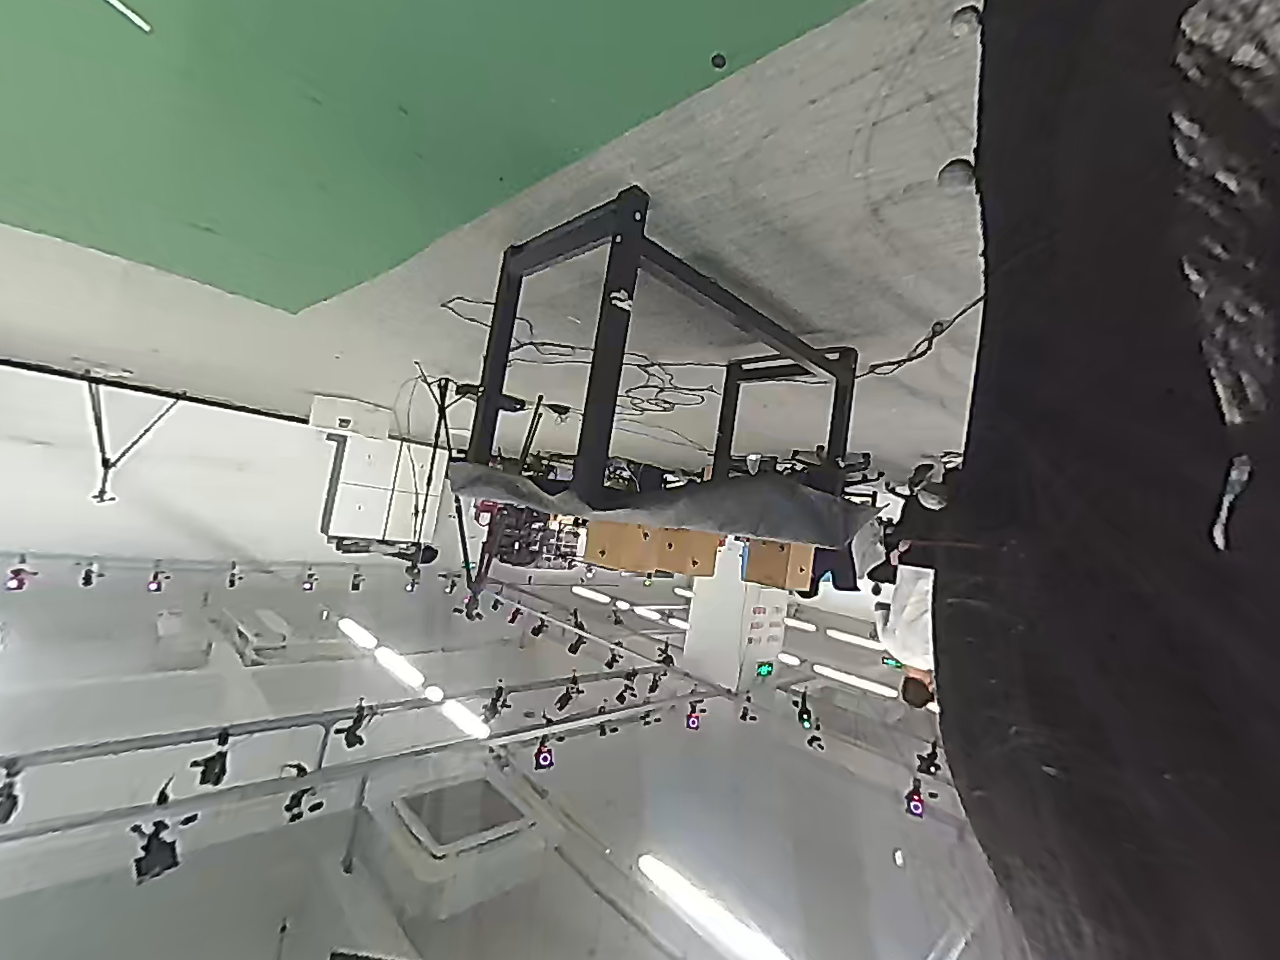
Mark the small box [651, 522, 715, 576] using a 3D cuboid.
[{"bbox_3d":[0.148,0.243,1.922,0.168,0.176,0.179,4,174,43],"label":"small box"}]

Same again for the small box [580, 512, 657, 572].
[{"bbox_3d":[-0.065,0.195,1.731,0.179,0.176,0.168,3,174,45],"label":"small box"}]

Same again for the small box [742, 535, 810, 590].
[{"bbox_3d":[0.489,0.293,1.932,0.168,0.176,0.179,5,175,45],"label":"small box"}]
